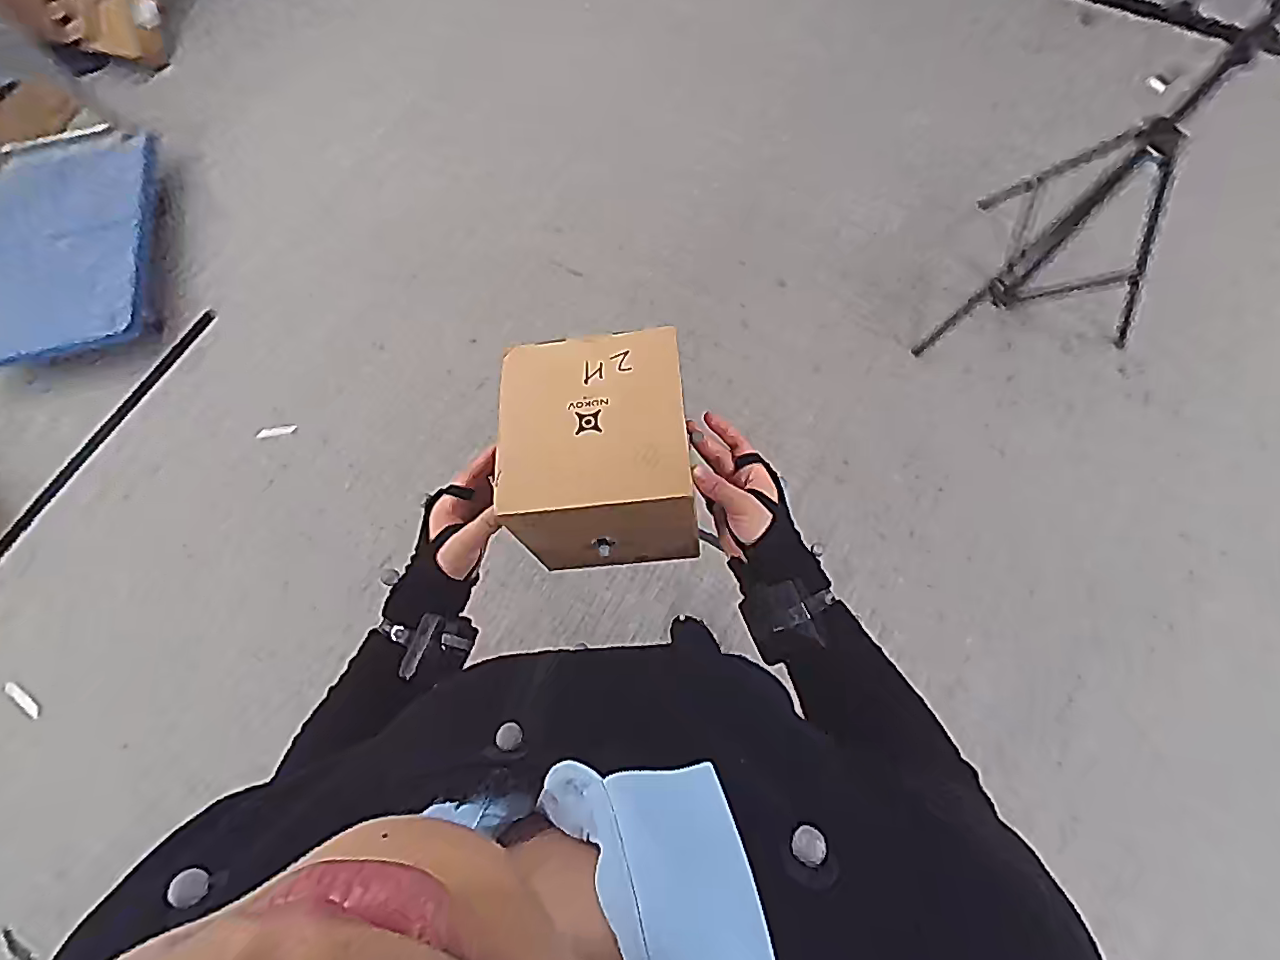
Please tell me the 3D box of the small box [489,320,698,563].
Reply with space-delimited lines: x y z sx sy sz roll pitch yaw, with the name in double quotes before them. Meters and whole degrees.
"small box" -0.035 -0.024 0.532 0.168 0.176 0.179 -7 63 5
